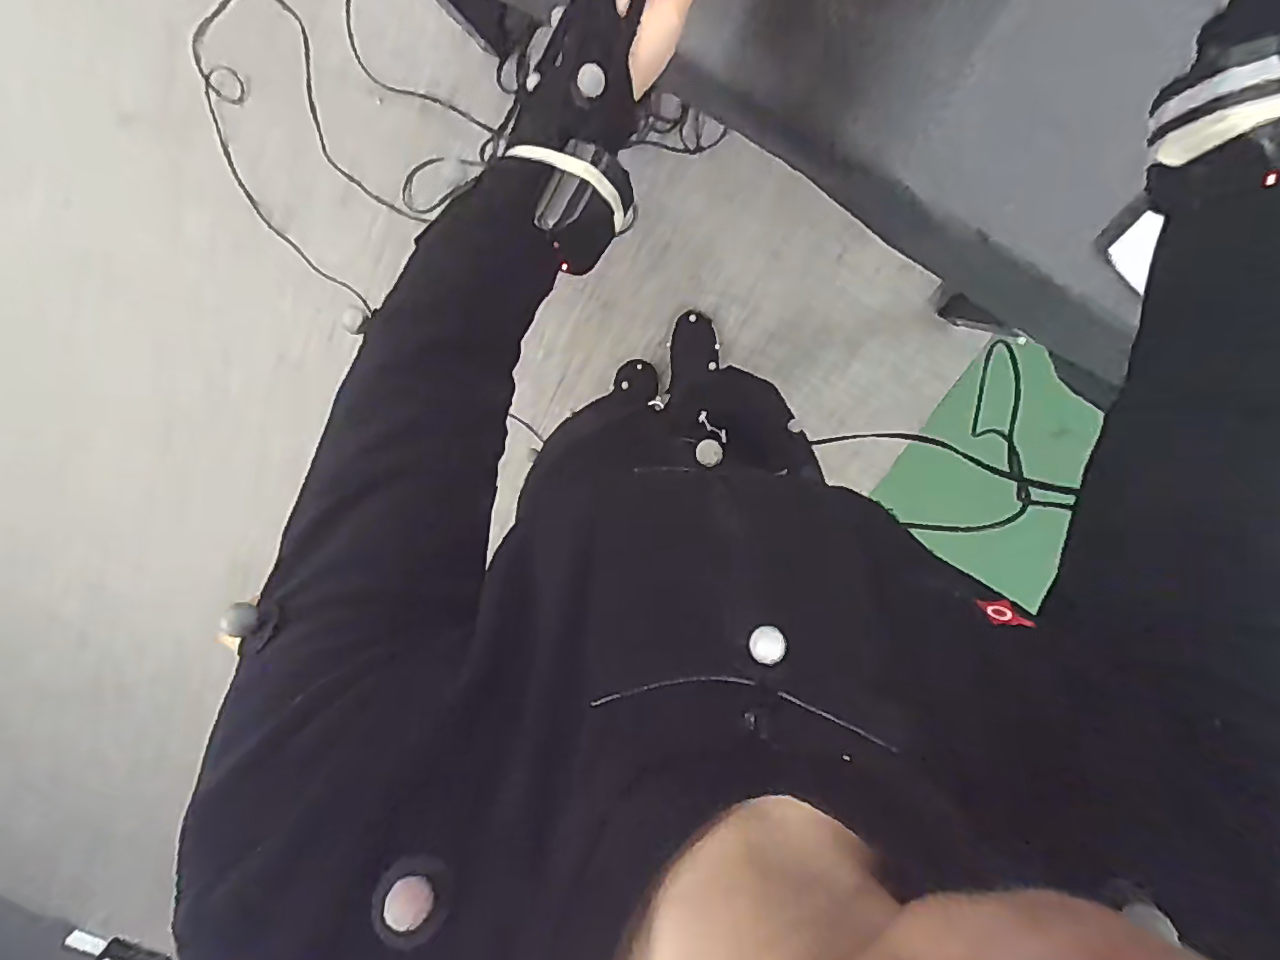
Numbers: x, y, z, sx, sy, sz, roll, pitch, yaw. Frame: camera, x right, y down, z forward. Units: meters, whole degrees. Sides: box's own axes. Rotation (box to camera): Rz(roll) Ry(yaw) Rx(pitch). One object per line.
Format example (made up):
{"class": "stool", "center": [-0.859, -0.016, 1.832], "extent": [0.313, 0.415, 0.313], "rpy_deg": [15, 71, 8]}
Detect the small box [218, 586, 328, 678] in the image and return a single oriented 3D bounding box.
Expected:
{"class": "small box", "center": [-1.080, 0.440, 1.602], "extent": [0.179, 0.176, 0.168], "rpy_deg": [43, 109, -11]}
